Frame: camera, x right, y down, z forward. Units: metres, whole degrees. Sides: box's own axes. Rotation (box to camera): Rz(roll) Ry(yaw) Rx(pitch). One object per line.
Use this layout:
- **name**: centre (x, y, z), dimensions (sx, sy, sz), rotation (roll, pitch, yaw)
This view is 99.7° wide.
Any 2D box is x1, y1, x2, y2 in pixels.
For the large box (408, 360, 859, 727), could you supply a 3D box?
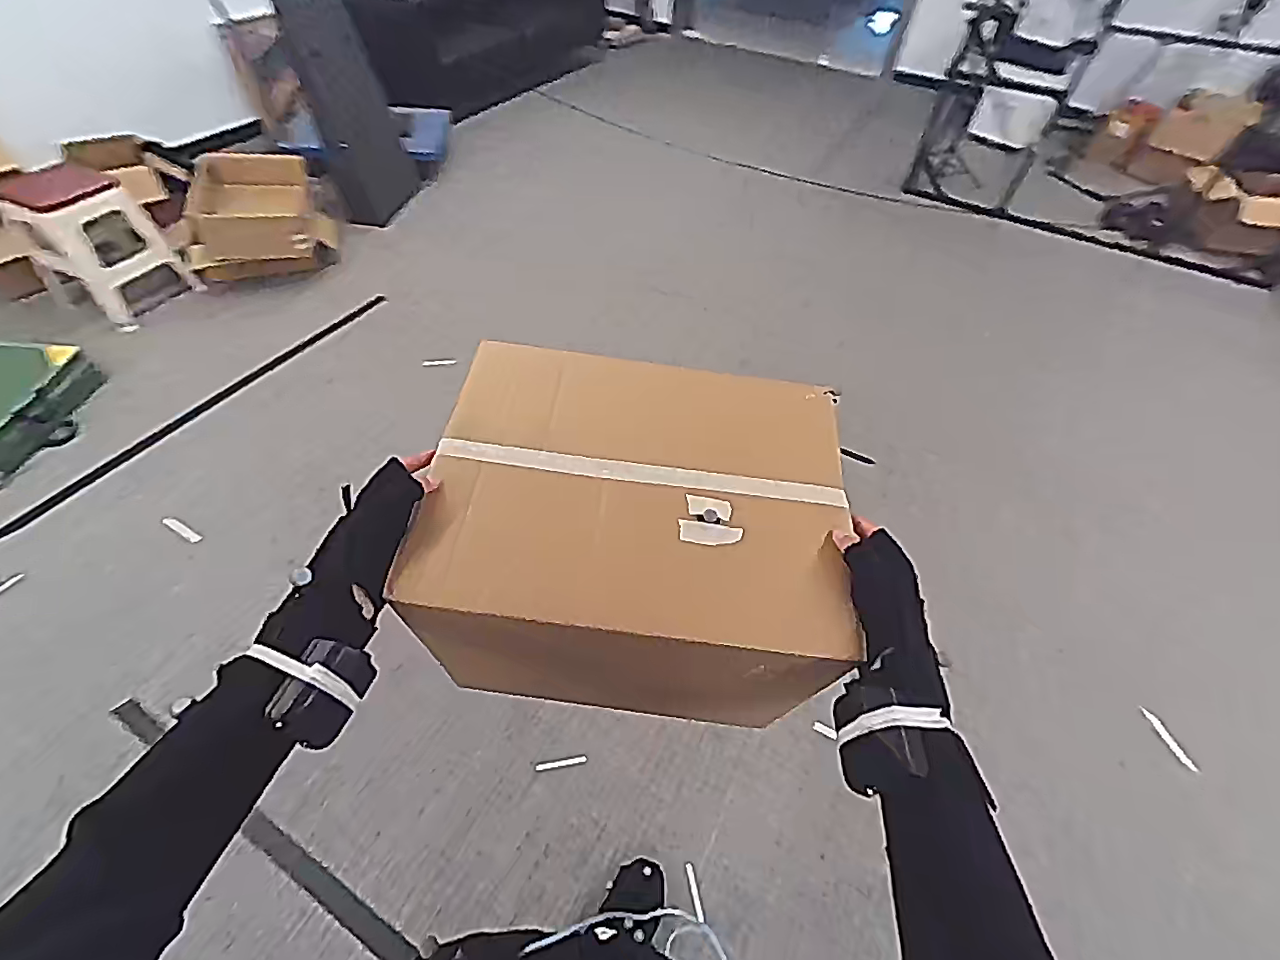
- **large box**: centre (-0.004, 0.092, 0.670), dimensions (0.408, 0.320, 0.320), rotation (9, 56, 0)
